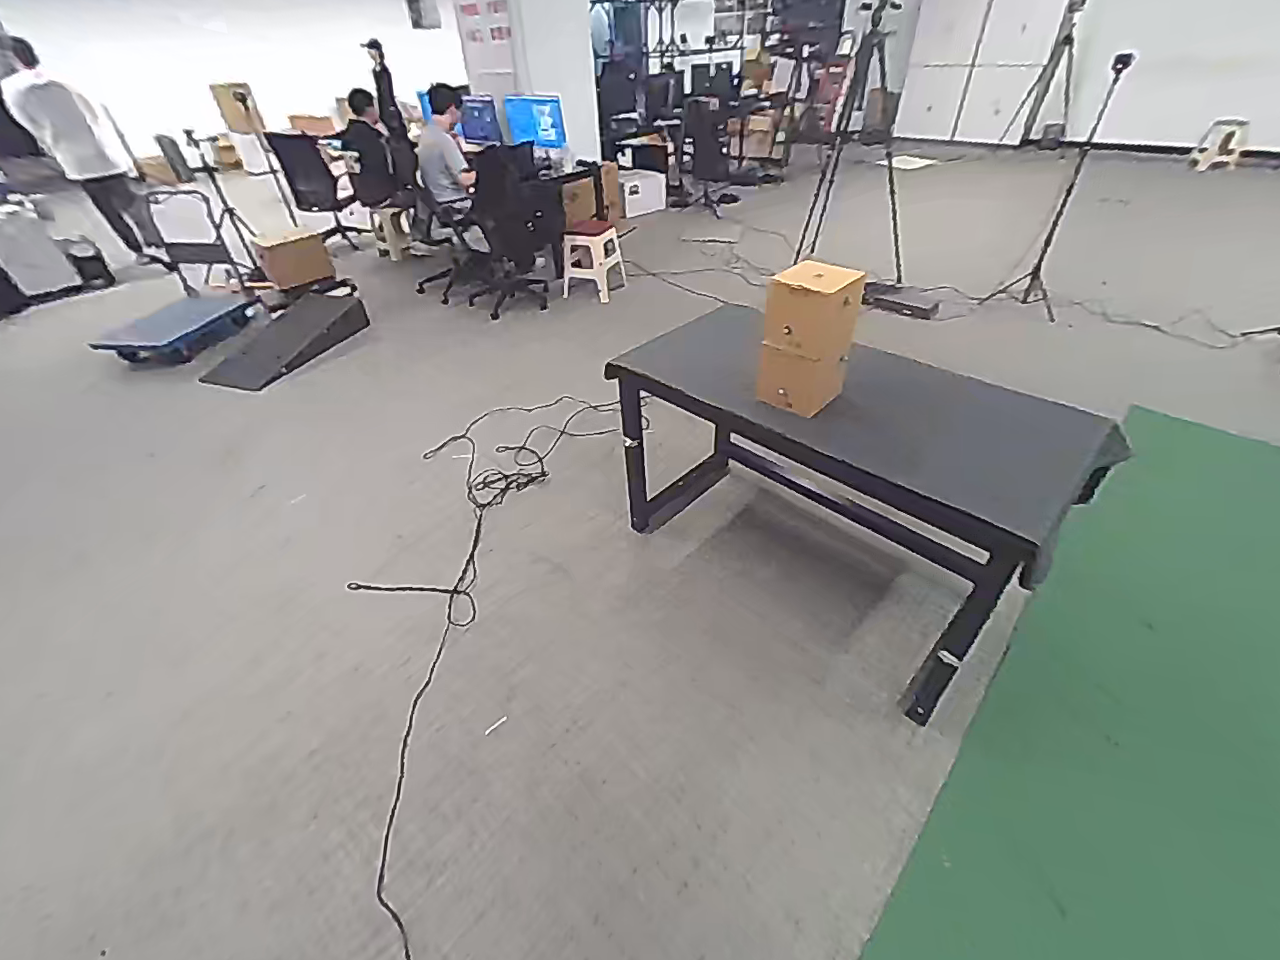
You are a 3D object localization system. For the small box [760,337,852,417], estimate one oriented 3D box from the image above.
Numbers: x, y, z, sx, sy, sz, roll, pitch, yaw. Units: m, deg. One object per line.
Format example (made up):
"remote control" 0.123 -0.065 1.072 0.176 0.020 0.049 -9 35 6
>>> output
"small box" 0.434 -0.295 1.439 0.168 0.176 0.179 29 49 34

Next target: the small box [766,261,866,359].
"small box" 0.427 -0.421 1.337 0.168 0.176 0.179 29 49 34
